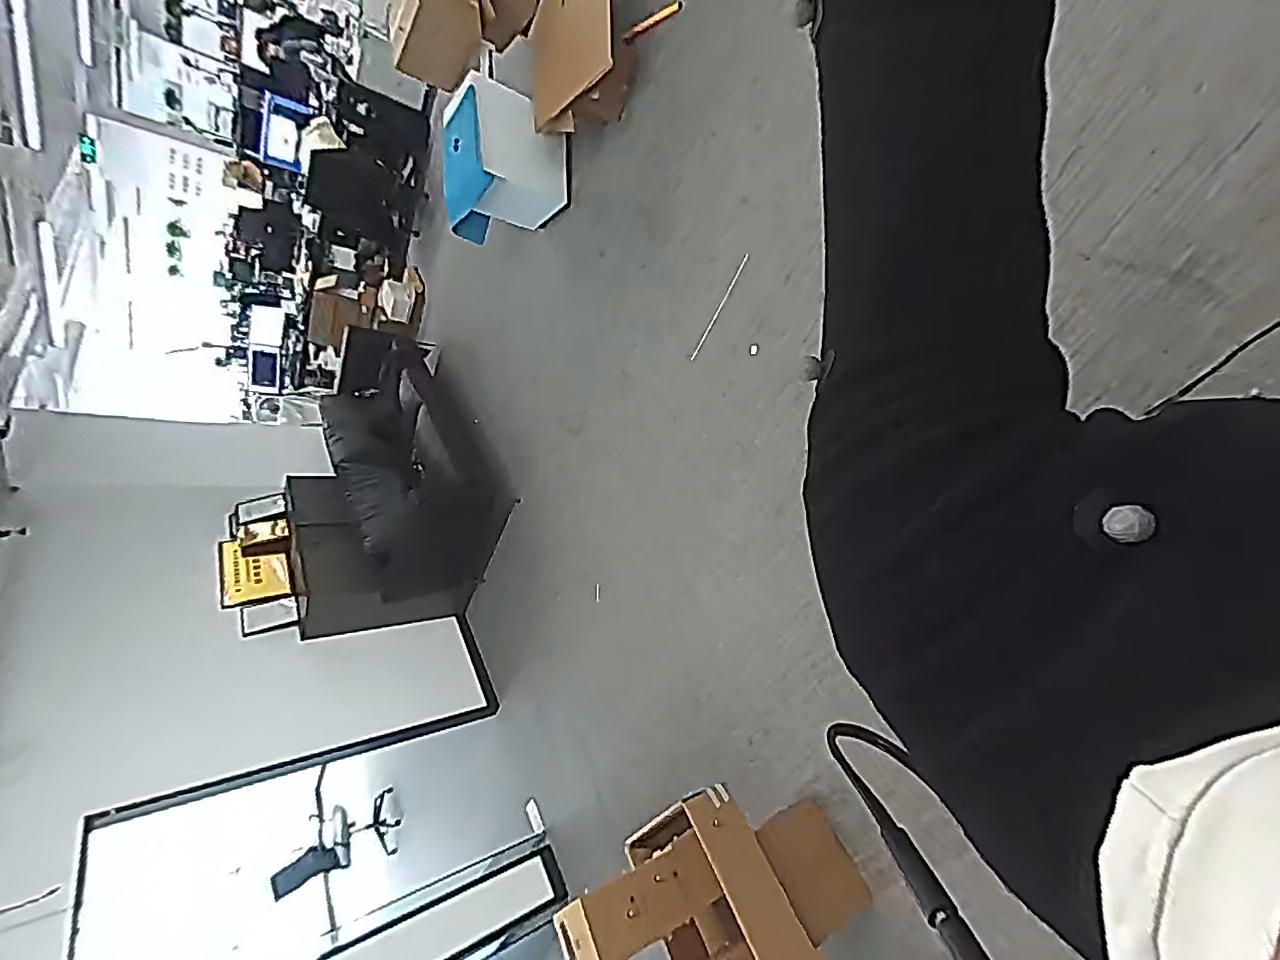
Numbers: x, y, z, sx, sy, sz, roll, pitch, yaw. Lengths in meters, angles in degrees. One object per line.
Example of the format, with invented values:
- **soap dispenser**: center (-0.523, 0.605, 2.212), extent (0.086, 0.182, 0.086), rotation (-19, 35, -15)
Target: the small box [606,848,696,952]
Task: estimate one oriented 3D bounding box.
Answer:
- **small box**: center (0.036, 1.190, 1.541), extent (0.179, 0.176, 0.168), rotation (-56, 49, 33)
